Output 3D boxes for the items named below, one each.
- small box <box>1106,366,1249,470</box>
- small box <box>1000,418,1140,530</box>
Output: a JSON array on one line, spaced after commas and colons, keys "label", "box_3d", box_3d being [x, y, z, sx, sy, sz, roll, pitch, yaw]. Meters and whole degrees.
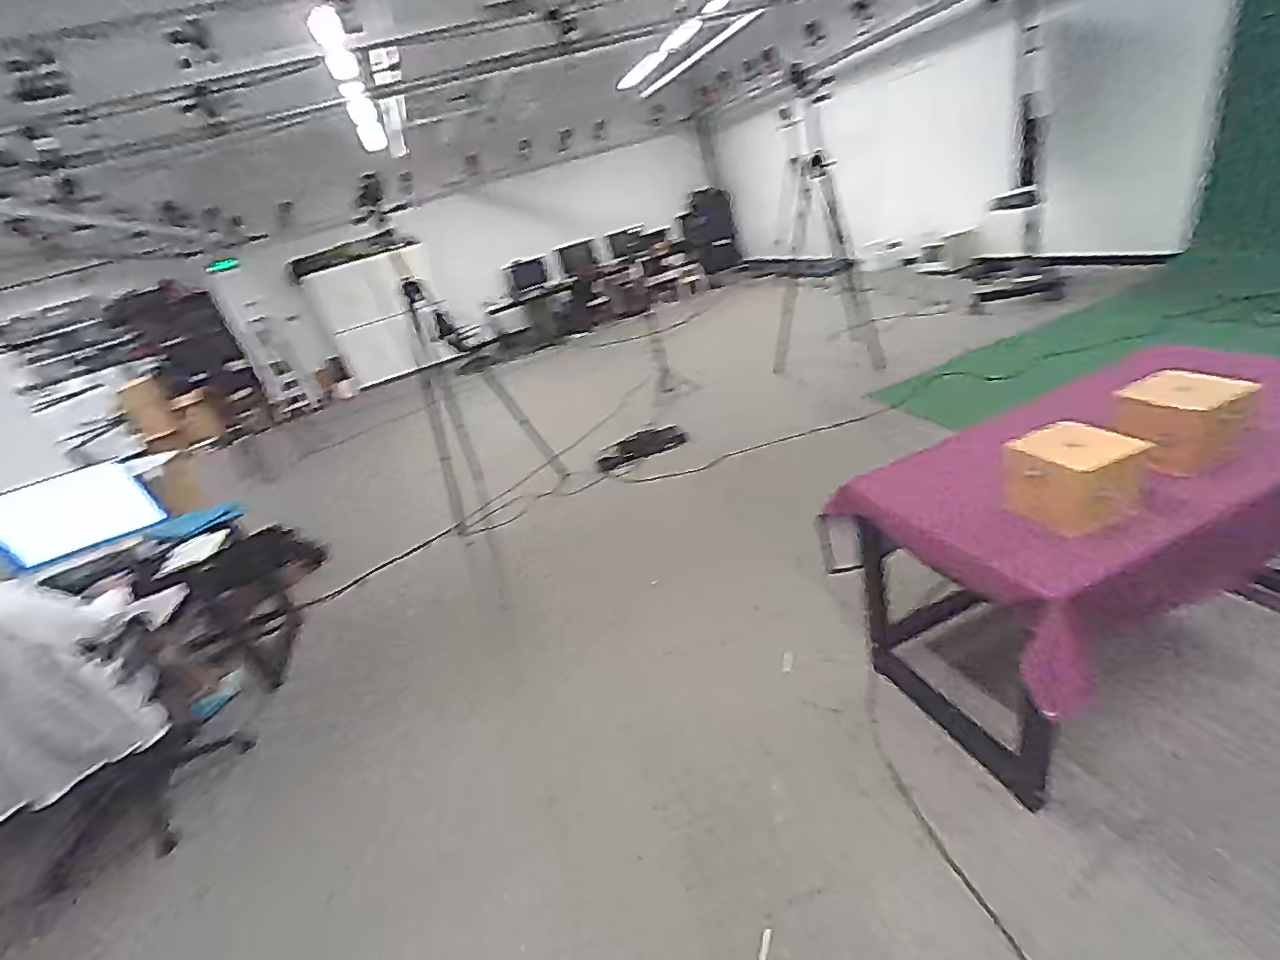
[{"label": "small box", "box_3d": [1.222, -0.142, 1.244, 0.179, 0.176, 0.168, -22, 27, -9]}, {"label": "small box", "box_3d": [0.922, -0.011, 1.174, 0.168, 0.176, 0.179, -21, 25, -8]}]
